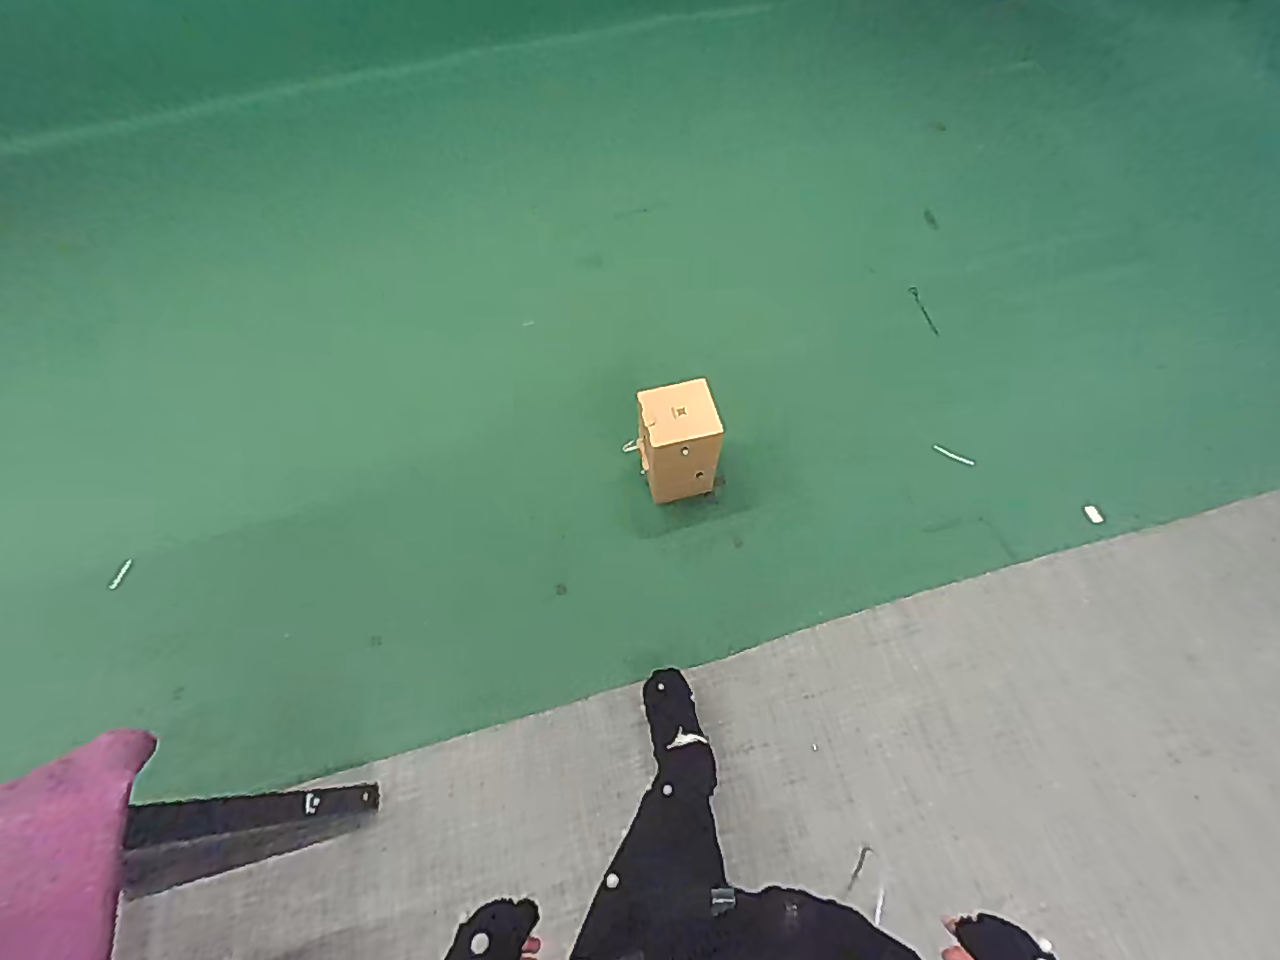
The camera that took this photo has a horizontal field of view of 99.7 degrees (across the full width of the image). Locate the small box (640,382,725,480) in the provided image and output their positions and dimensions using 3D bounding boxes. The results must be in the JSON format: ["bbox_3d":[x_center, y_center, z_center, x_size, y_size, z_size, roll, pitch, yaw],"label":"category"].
[{"bbox_3d":[0.101,-0.119,1.369,0.179,0.176,0.168,-13,63,-4],"label":"small box"}]

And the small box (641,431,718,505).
[{"bbox_3d":[0.106,-0.049,1.516,0.179,0.176,0.168,-13,62,-4],"label":"small box"}]
